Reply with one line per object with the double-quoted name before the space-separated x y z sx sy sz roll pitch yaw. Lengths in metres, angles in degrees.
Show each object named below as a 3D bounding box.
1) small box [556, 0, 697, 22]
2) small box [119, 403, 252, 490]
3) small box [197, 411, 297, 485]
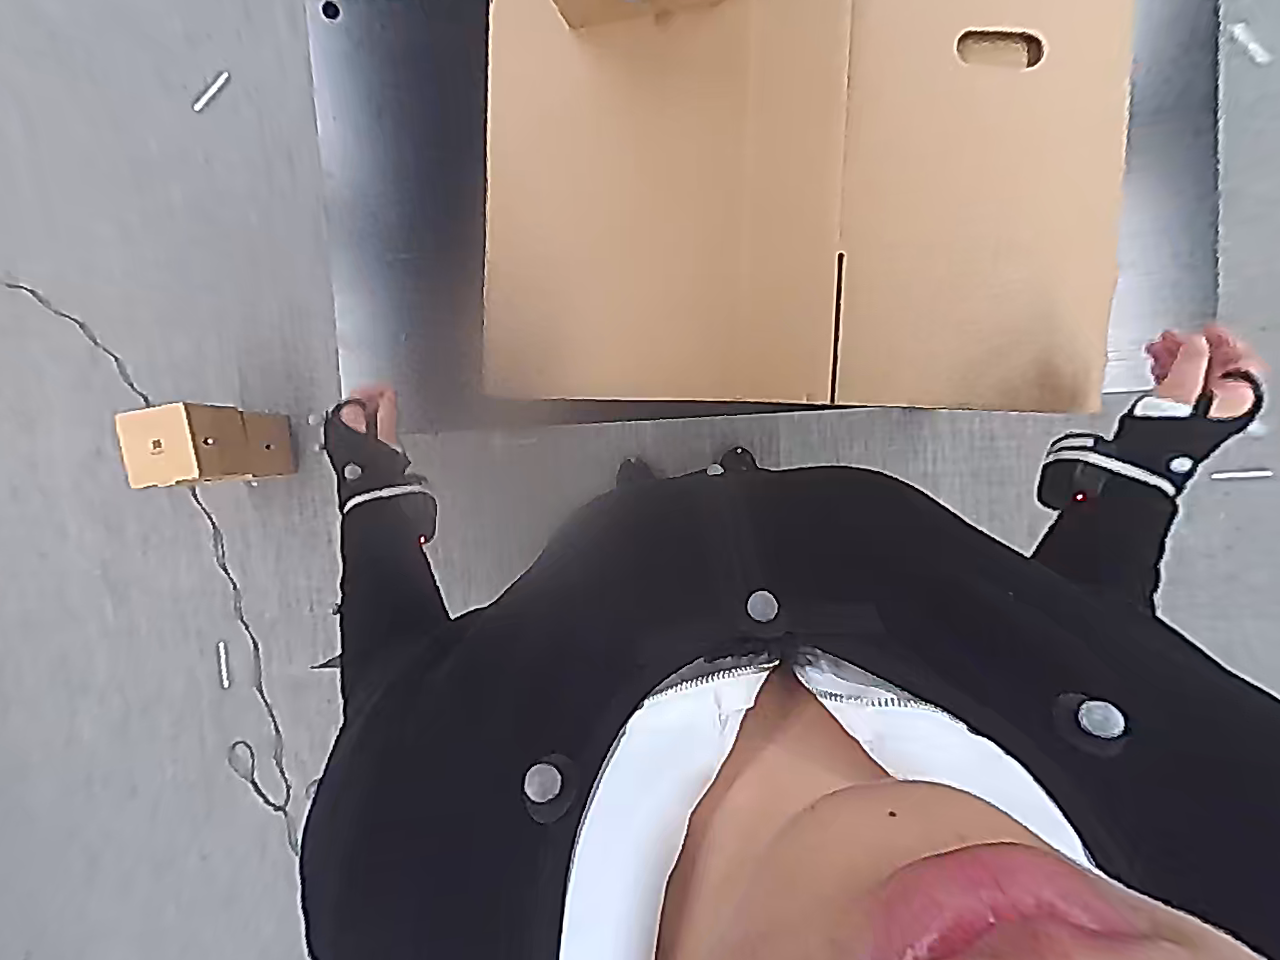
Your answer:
"small box" -0.015 -0.575 0.497 0.179 0.176 0.168 4 93 14
"small box" -1.076 -0.081 1.297 0.168 0.176 0.179 -10 93 2
"small box" -1.069 -0.085 1.459 0.168 0.176 0.179 -7 94 3
